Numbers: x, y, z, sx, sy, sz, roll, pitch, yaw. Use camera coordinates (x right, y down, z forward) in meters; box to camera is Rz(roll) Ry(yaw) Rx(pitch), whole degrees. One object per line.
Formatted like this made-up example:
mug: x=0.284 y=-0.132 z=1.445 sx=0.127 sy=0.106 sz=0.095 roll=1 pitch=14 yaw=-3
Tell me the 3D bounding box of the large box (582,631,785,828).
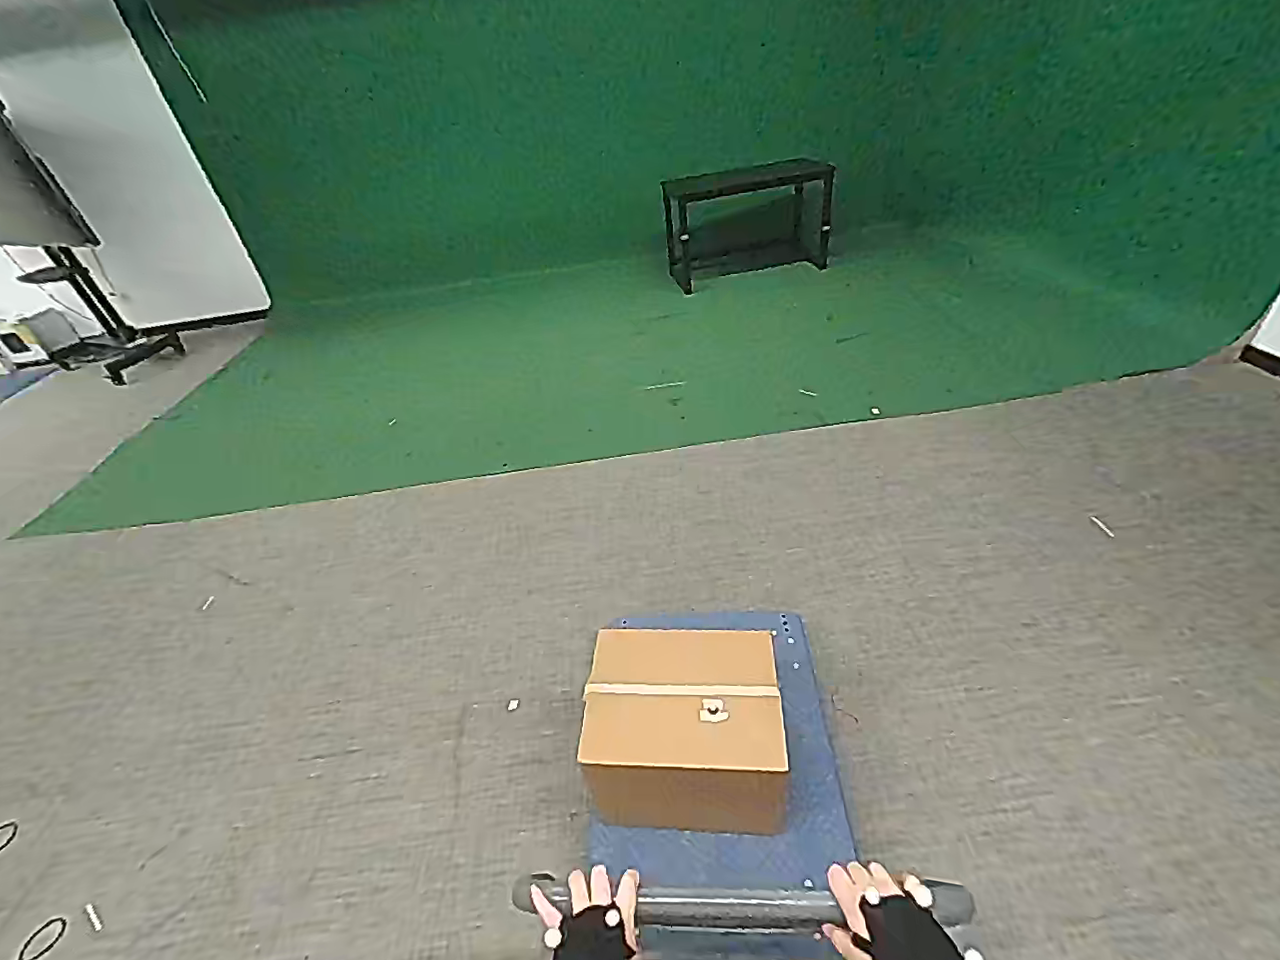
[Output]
large box: x=0.100 y=0.572 z=1.252 sx=0.408 sy=0.320 sz=0.320 roll=-1 pitch=38 yaw=7
